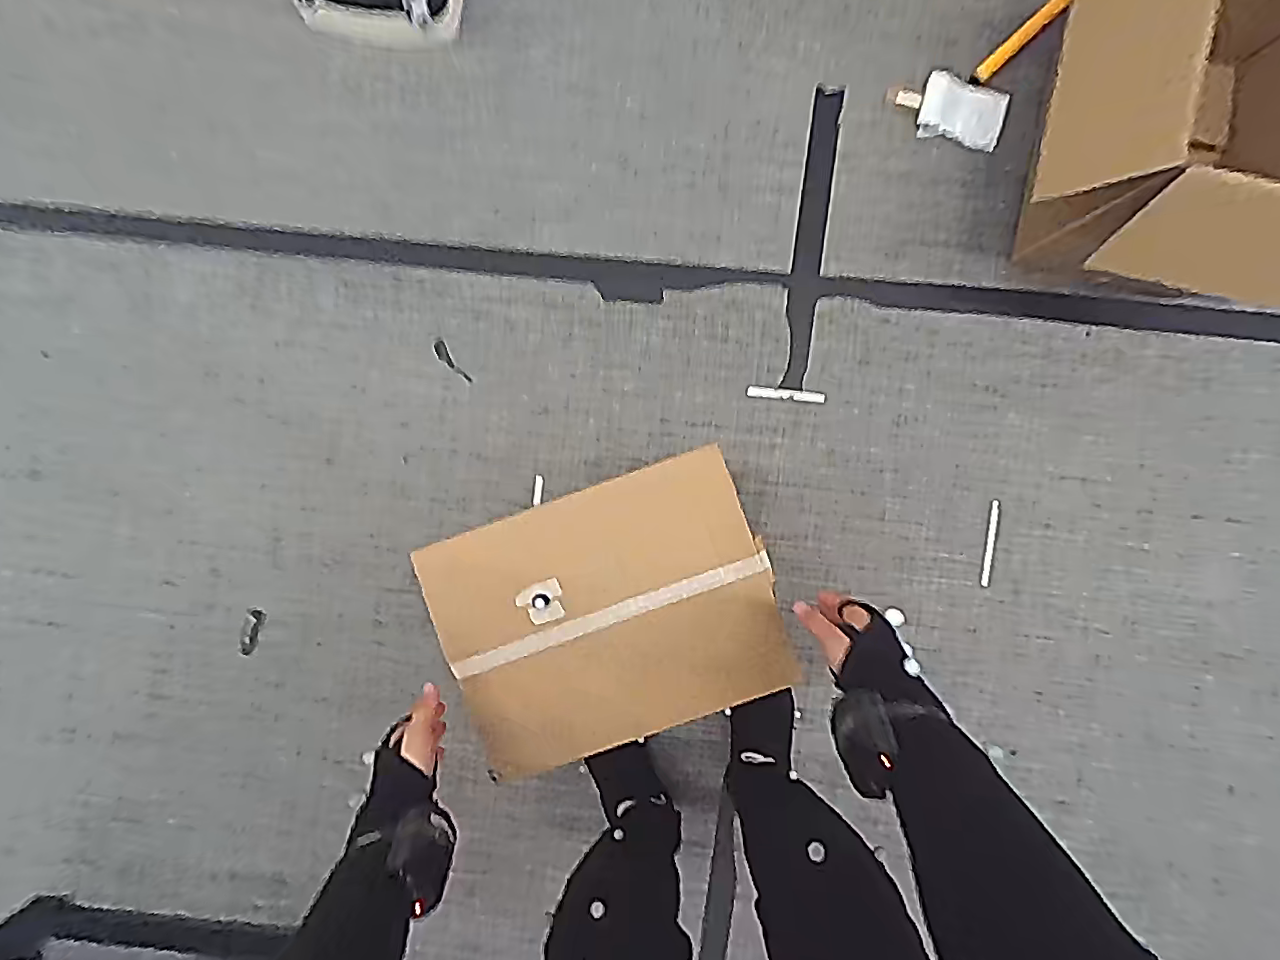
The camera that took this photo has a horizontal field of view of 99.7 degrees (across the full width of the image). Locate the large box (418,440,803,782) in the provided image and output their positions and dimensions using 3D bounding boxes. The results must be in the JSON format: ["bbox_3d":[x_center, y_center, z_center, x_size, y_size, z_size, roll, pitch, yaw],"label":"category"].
[{"bbox_3d":[-0.032,0.157,0.807,0.408,0.320,0.320,-21,90,3],"label":"large box"}]
